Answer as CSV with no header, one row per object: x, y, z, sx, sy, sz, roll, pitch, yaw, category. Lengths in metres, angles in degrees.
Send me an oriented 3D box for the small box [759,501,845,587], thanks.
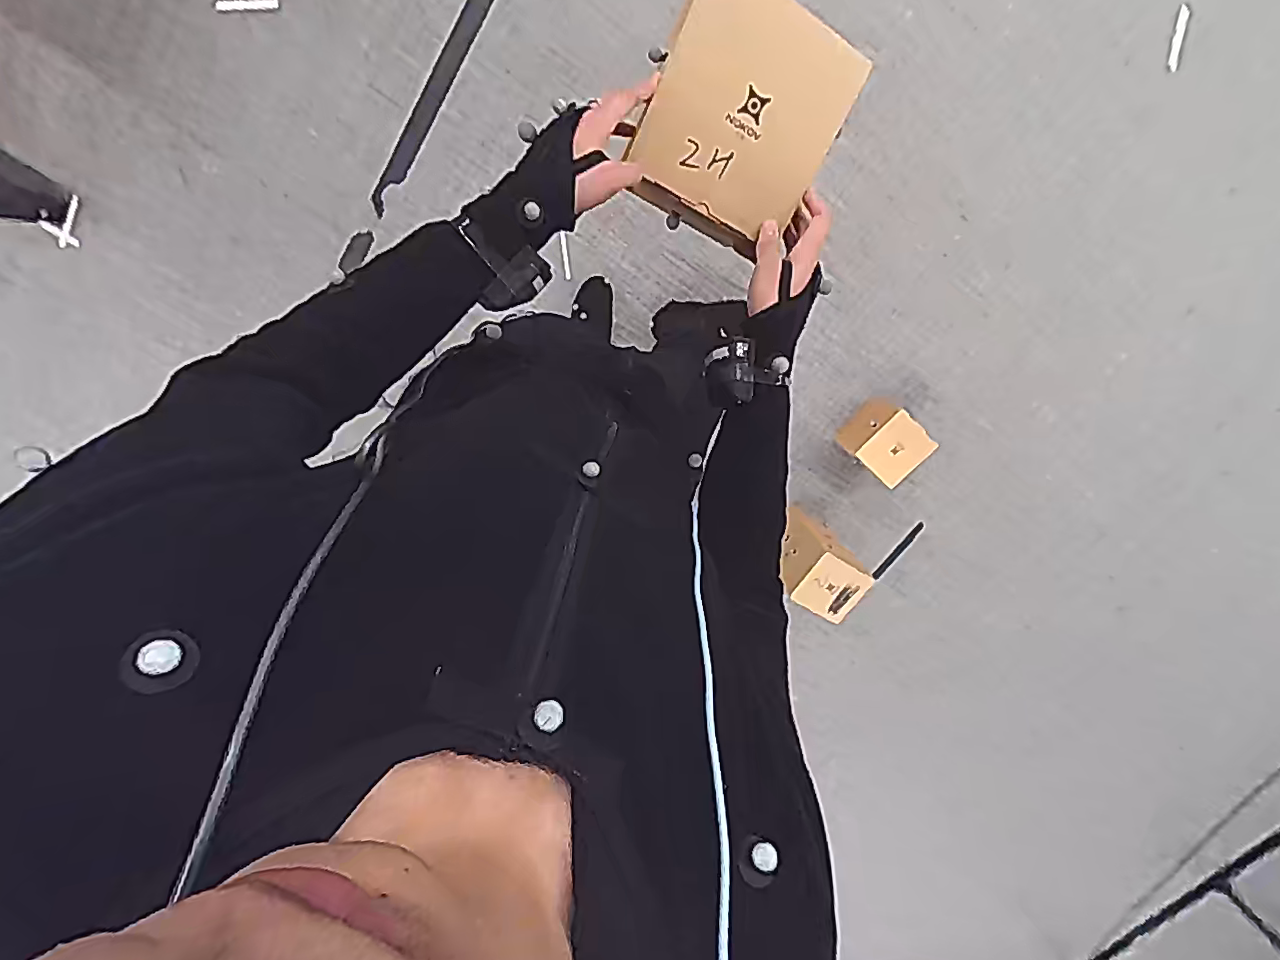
0.499,0.195,1.694,0.168,0.176,0.179,31,108,-13,small box

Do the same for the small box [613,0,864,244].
0.080,-0.366,0.551,0.168,0.176,0.179,21,111,-17,small box

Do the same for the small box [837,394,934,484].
0.703,-0.125,1.581,0.168,0.176,0.179,40,103,-16,small box
